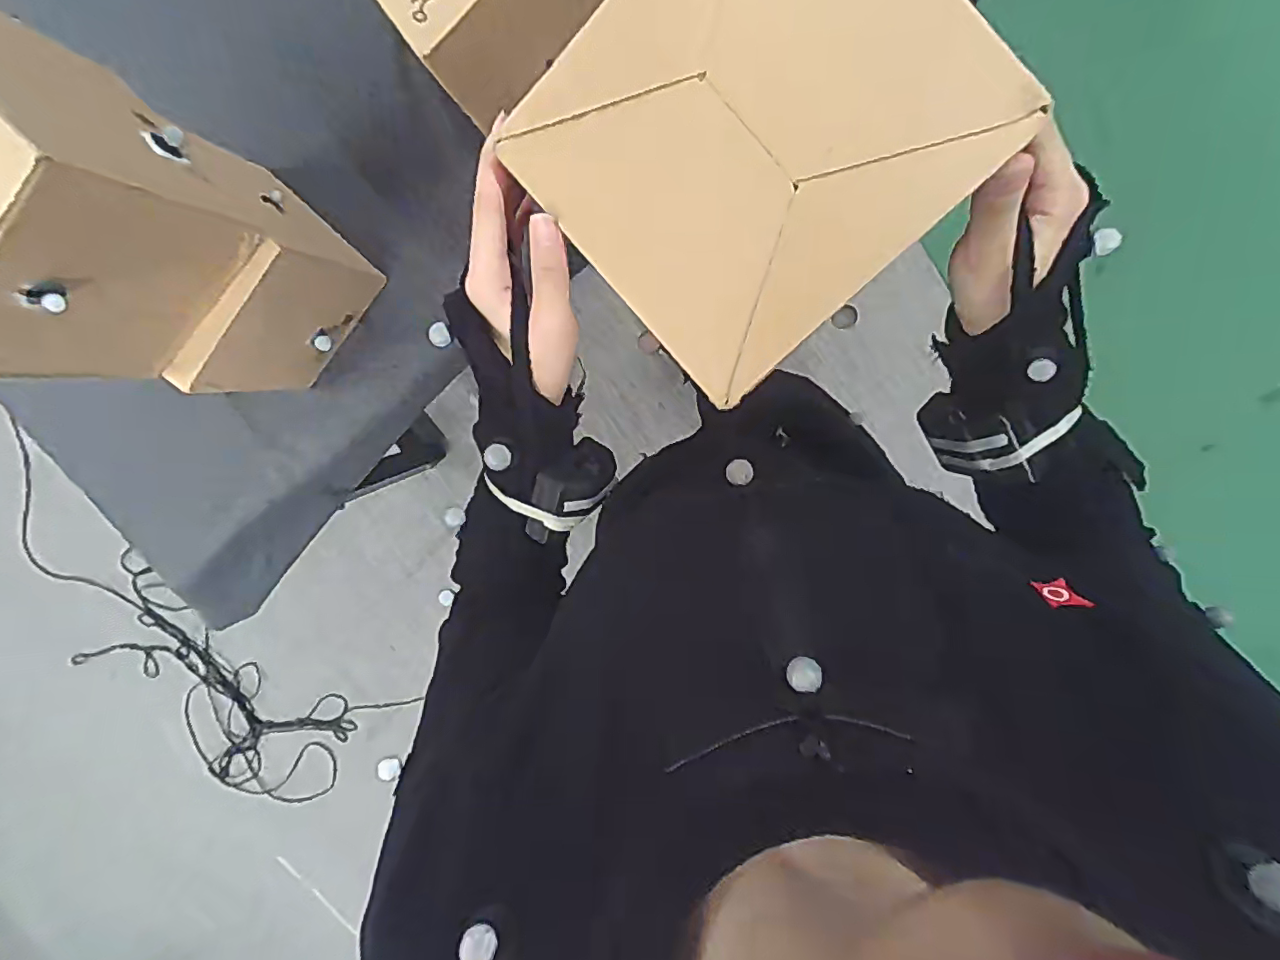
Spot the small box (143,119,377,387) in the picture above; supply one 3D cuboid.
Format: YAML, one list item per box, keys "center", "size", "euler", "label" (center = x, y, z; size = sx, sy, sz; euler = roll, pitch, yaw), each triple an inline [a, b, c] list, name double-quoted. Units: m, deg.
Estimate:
- center: [-0.408, -0.209, 0.529]
  size: [0.179, 0.176, 0.168]
  euler: [42, 102, -5]
  label: "small box"

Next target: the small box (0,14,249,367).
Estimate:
- center: [-0.427, -0.190, 0.369]
  size: [0.179, 0.176, 0.168]
  euler: [-43, 97, 11]
  label: "small box"

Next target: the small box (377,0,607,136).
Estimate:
- center: [-0.141, -0.447, 0.458]
  size: [0.179, 0.176, 0.168]
  euler: [-36, 97, 10]
  label: "small box"
